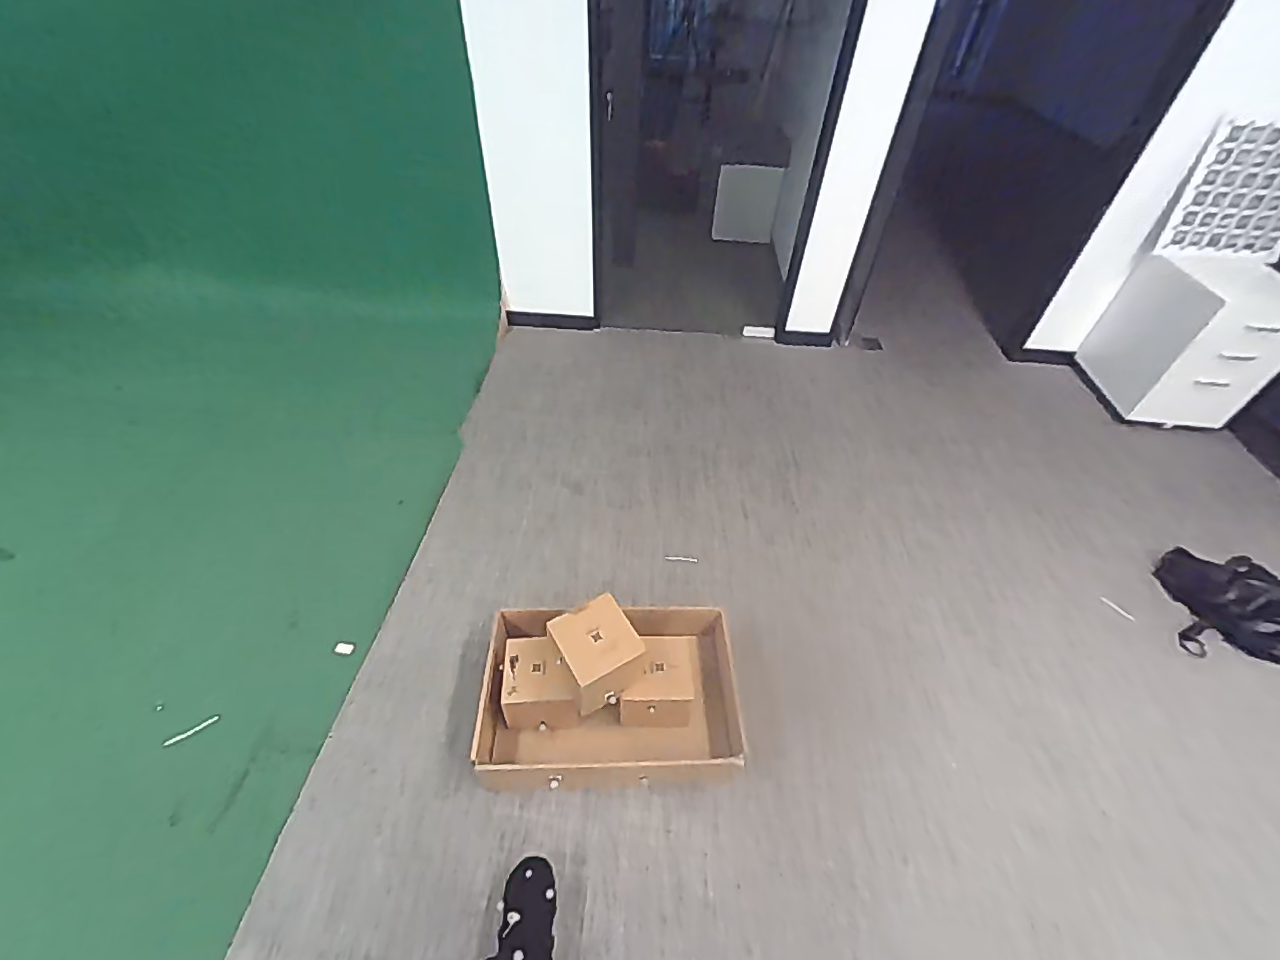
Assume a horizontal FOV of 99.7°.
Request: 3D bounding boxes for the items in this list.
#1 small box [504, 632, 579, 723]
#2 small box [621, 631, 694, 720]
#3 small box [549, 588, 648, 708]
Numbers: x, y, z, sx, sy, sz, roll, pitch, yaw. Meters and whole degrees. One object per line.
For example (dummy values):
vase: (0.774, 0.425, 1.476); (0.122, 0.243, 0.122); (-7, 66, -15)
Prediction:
small box: (-0.242, 0.500, 1.368); (0.179, 0.176, 0.168); (0, 45, -7)
small box: (0.039, 0.501, 1.383); (0.179, 0.176, 0.168); (1, 46, -2)
small box: (-0.099, 0.391, 1.258); (0.168, 0.176, 0.179); (-23, 53, -23)
